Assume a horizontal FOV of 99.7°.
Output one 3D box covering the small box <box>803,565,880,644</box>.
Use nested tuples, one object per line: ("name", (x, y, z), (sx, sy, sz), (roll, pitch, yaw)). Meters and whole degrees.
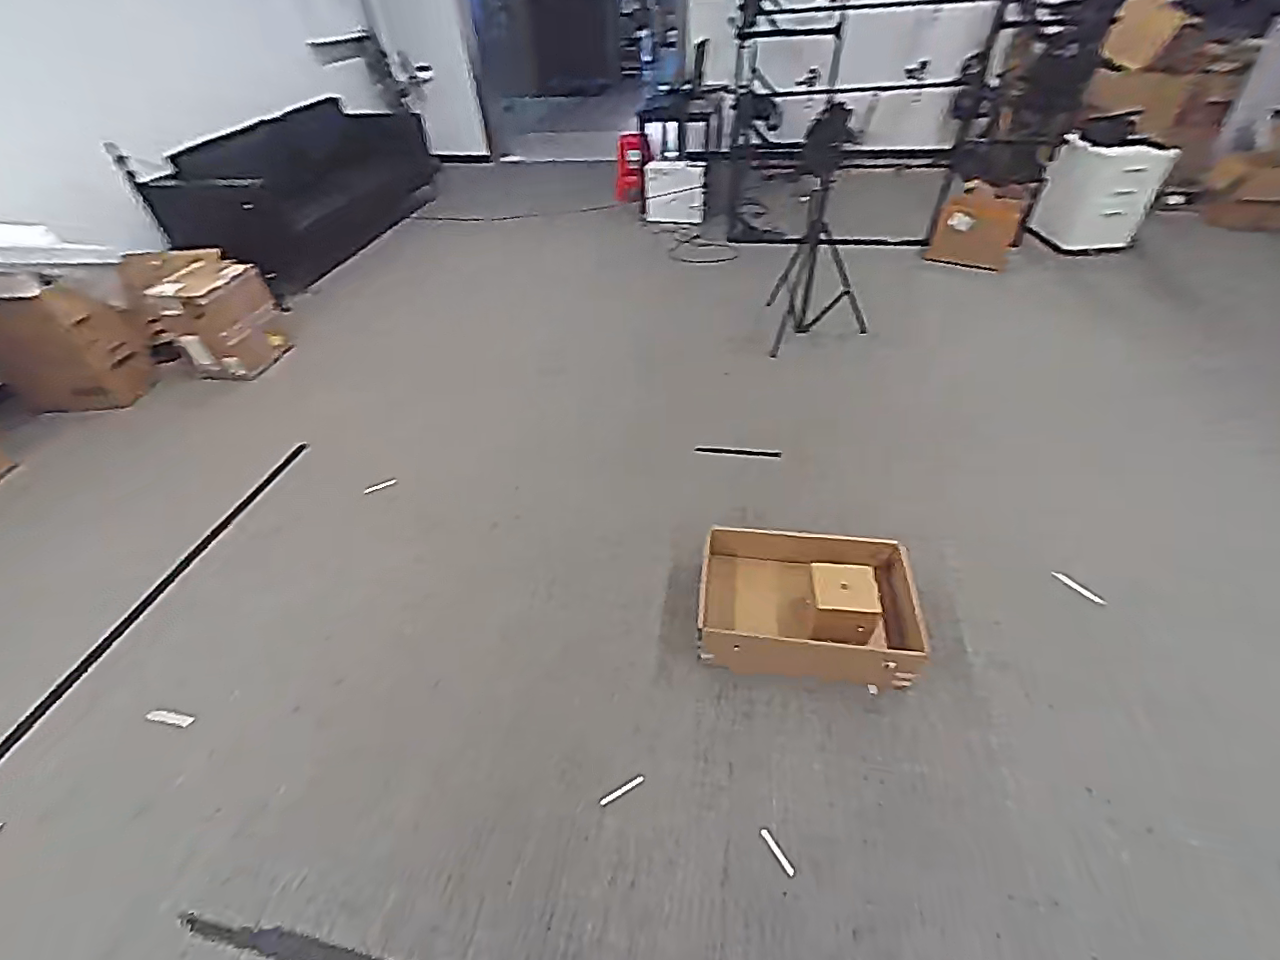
("small box", (0.597, 0.376, 1.621), (0.179, 0.176, 0.168), (1, 42, 8))
